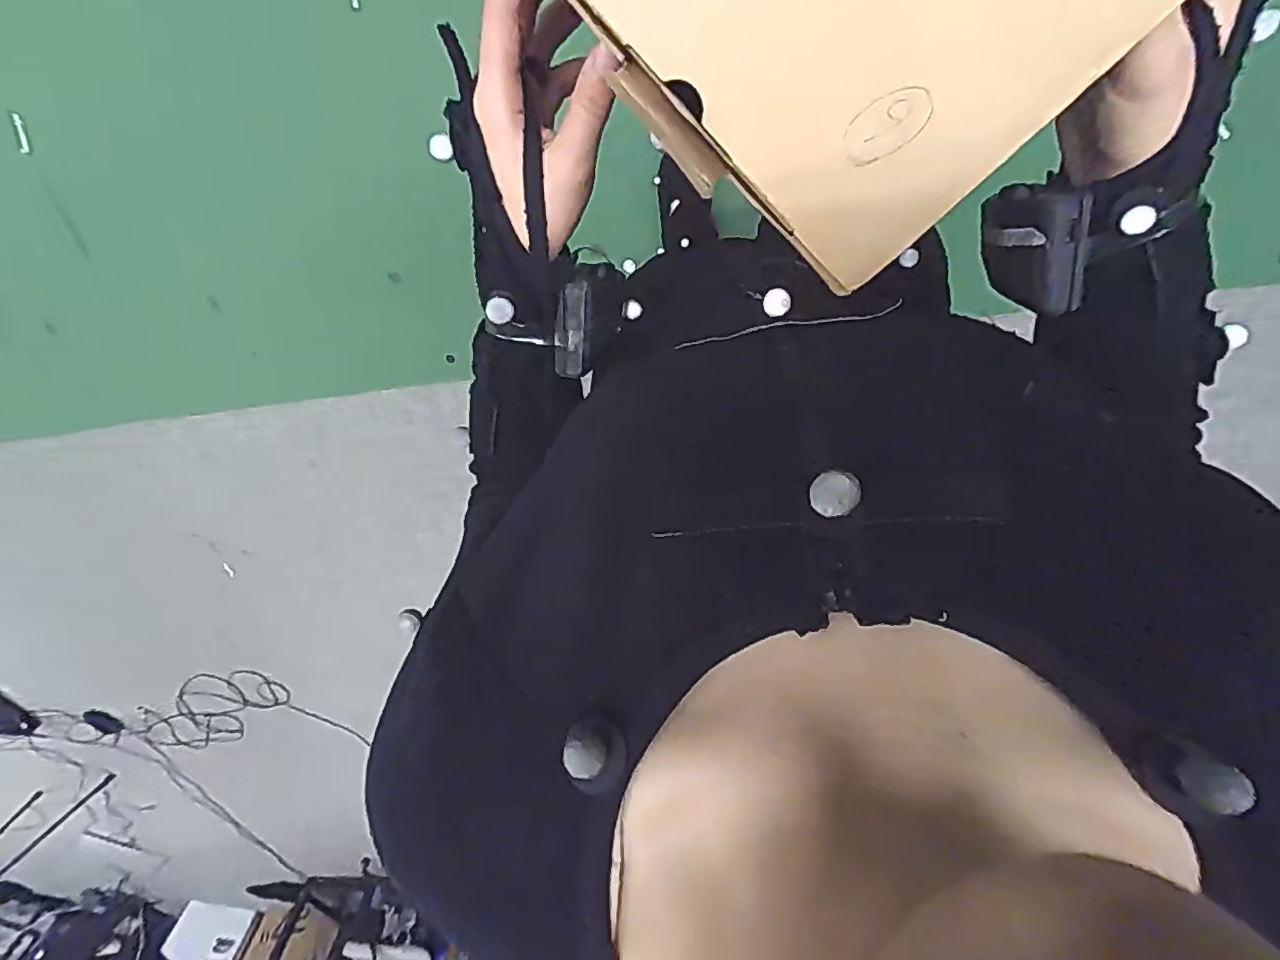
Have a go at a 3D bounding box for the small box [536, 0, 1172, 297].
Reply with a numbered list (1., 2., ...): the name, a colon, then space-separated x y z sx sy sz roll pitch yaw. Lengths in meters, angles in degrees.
1. small box: 0.076 -0.209 0.206 0.168 0.176 0.179 38 120 -18
